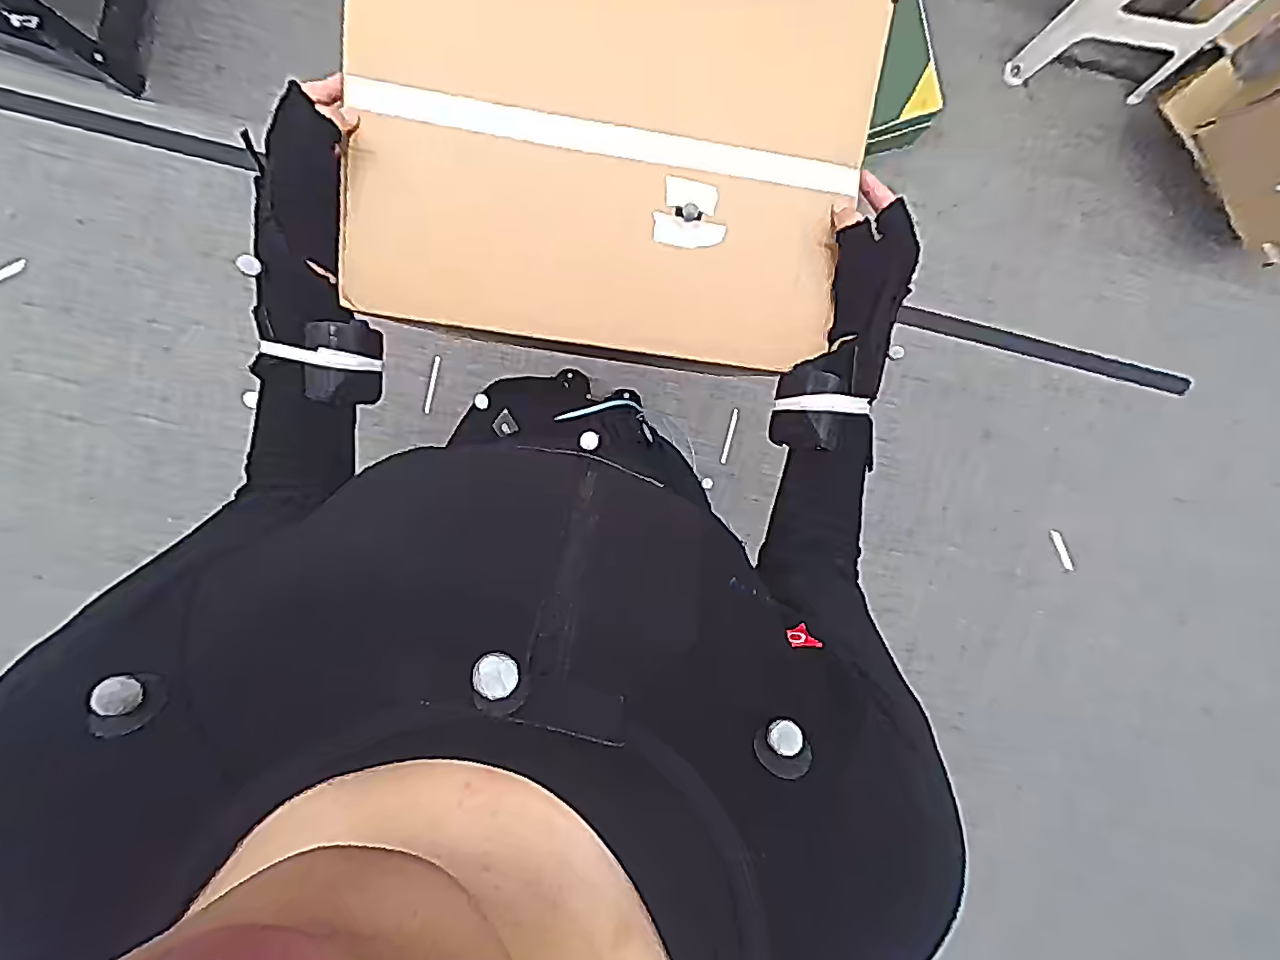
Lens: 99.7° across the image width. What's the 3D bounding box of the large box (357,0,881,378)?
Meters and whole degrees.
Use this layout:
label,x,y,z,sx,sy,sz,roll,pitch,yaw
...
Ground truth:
label,x,y,z,sx,sy,sz,roll,pitch,yaw
large box,-0.034,-0.290,0.584,0.408,0.320,0.320,7,101,-7
